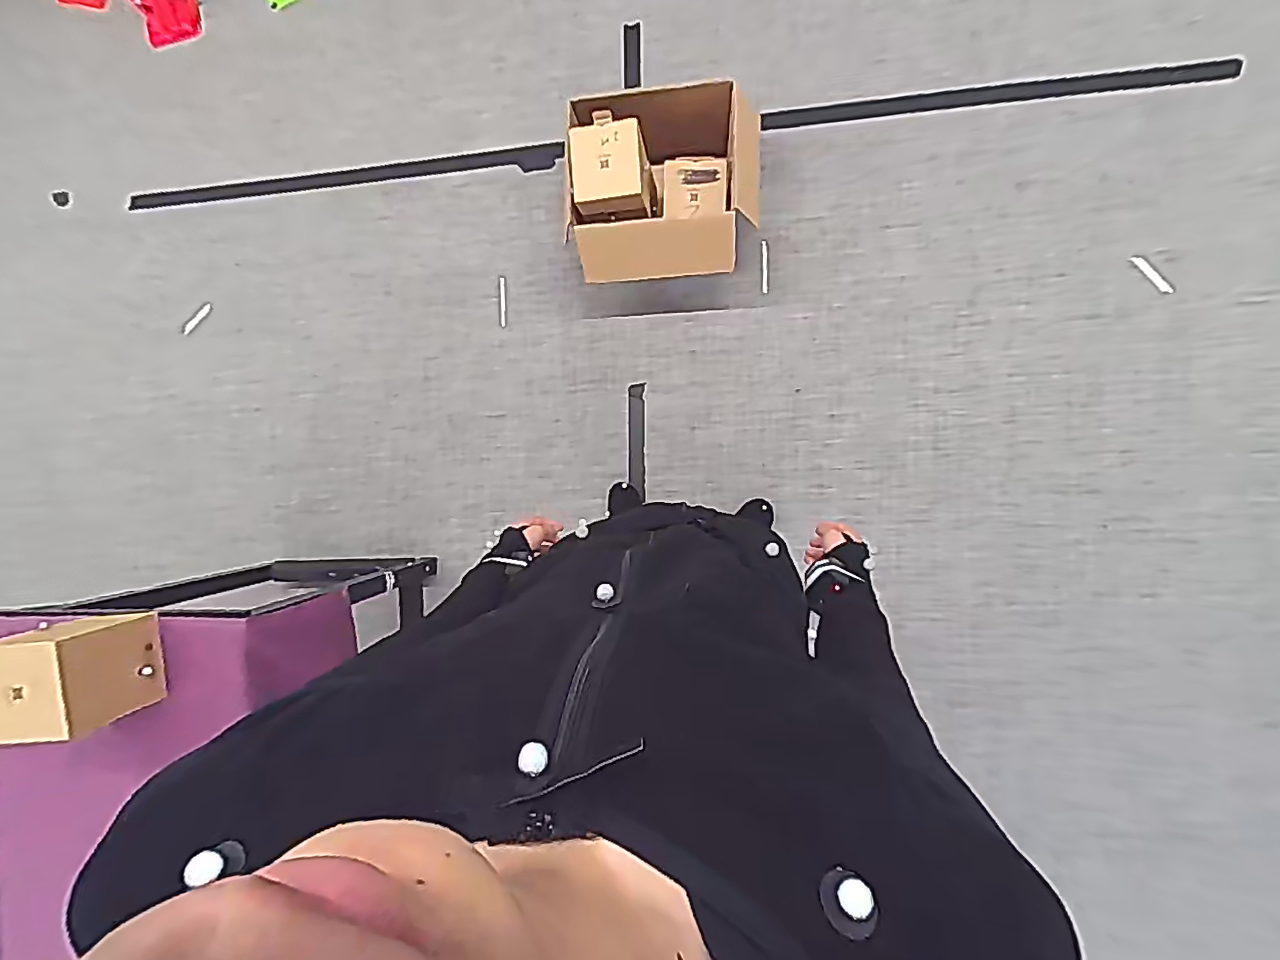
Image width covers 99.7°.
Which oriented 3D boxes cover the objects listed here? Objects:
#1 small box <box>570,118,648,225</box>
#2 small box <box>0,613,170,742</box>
[{"bbox_3d":[-0.072,-0.760,1.355,0.168,0.176,0.179,-3,92,7],"label":"small box"},{"bbox_3d":[-0.997,0.344,0.961,0.179,0.176,0.168,-6,92,8],"label":"small box"}]
